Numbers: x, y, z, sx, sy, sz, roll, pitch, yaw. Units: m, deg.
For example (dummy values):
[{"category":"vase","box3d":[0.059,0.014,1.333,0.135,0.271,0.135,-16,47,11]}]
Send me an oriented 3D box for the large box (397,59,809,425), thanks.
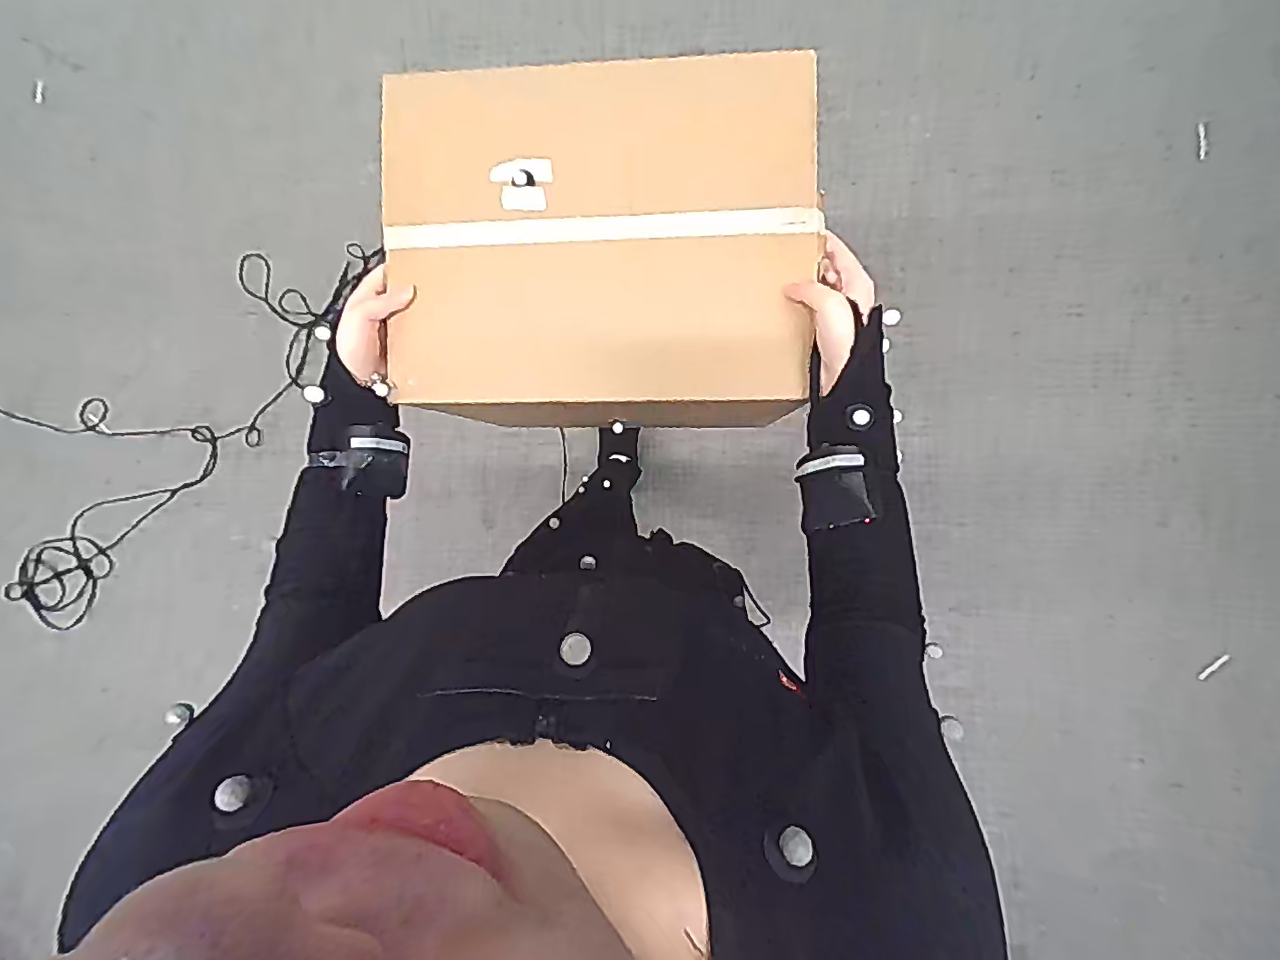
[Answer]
[{"category":"large box","box3d":[-0.026,-0.235,0.667,0.408,0.320,0.320,0,90,6]}]
